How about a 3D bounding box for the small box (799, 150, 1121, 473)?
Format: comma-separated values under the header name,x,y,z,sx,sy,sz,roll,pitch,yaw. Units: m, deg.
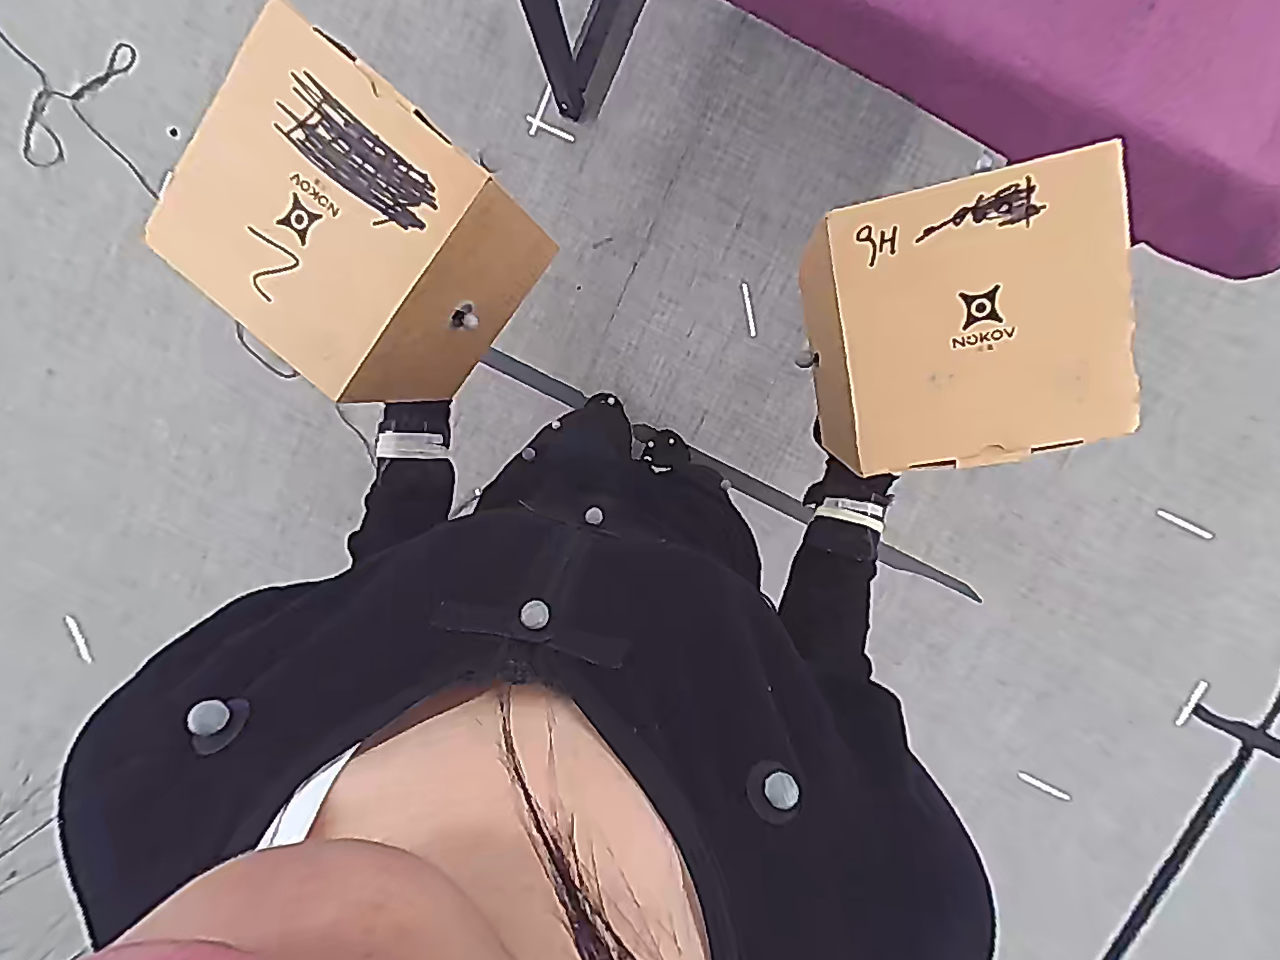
name,x,y,z,sx,sy,sz,roll,pitch,yaw
small box,0.226,-0.115,0.423,0.168,0.176,0.179,-9,99,11
